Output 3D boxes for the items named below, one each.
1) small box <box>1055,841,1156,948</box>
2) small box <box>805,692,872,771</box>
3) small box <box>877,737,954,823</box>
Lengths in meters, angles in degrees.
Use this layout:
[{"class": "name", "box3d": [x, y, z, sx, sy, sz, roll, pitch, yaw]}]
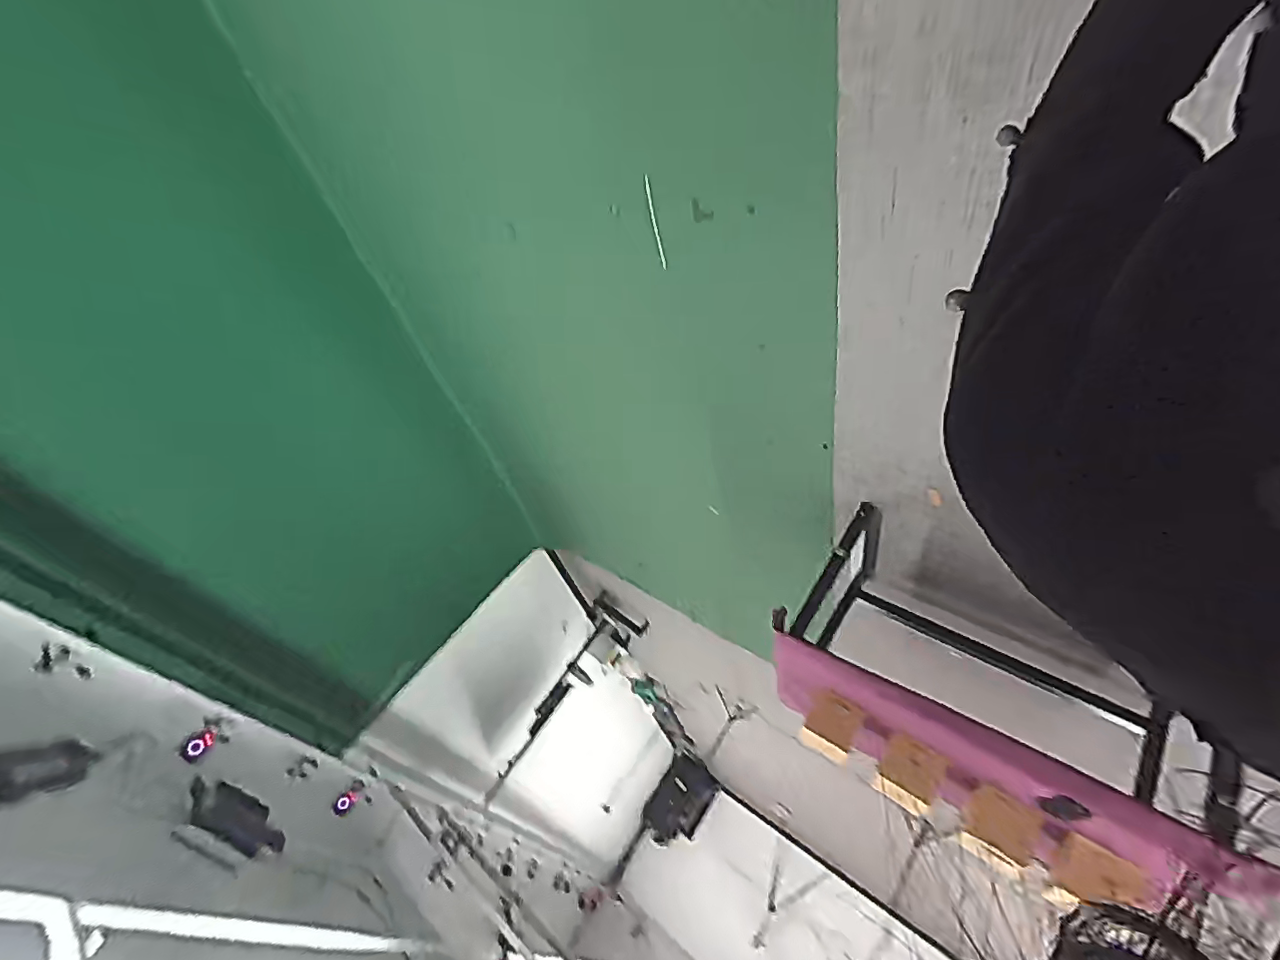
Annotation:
[{"class": "small box", "box3d": [1.289, 1.143, 1.499, 0.168, 0.176, 0.179, 21, 148, 35]}, {"class": "small box", "box3d": [0.698, 0.883, 1.901, 0.168, 0.176, 0.179, 25, 149, 28]}, {"class": "small box", "box3d": [0.901, 0.976, 1.767, 0.168, 0.176, 0.179, 25, 150, 31]}]
